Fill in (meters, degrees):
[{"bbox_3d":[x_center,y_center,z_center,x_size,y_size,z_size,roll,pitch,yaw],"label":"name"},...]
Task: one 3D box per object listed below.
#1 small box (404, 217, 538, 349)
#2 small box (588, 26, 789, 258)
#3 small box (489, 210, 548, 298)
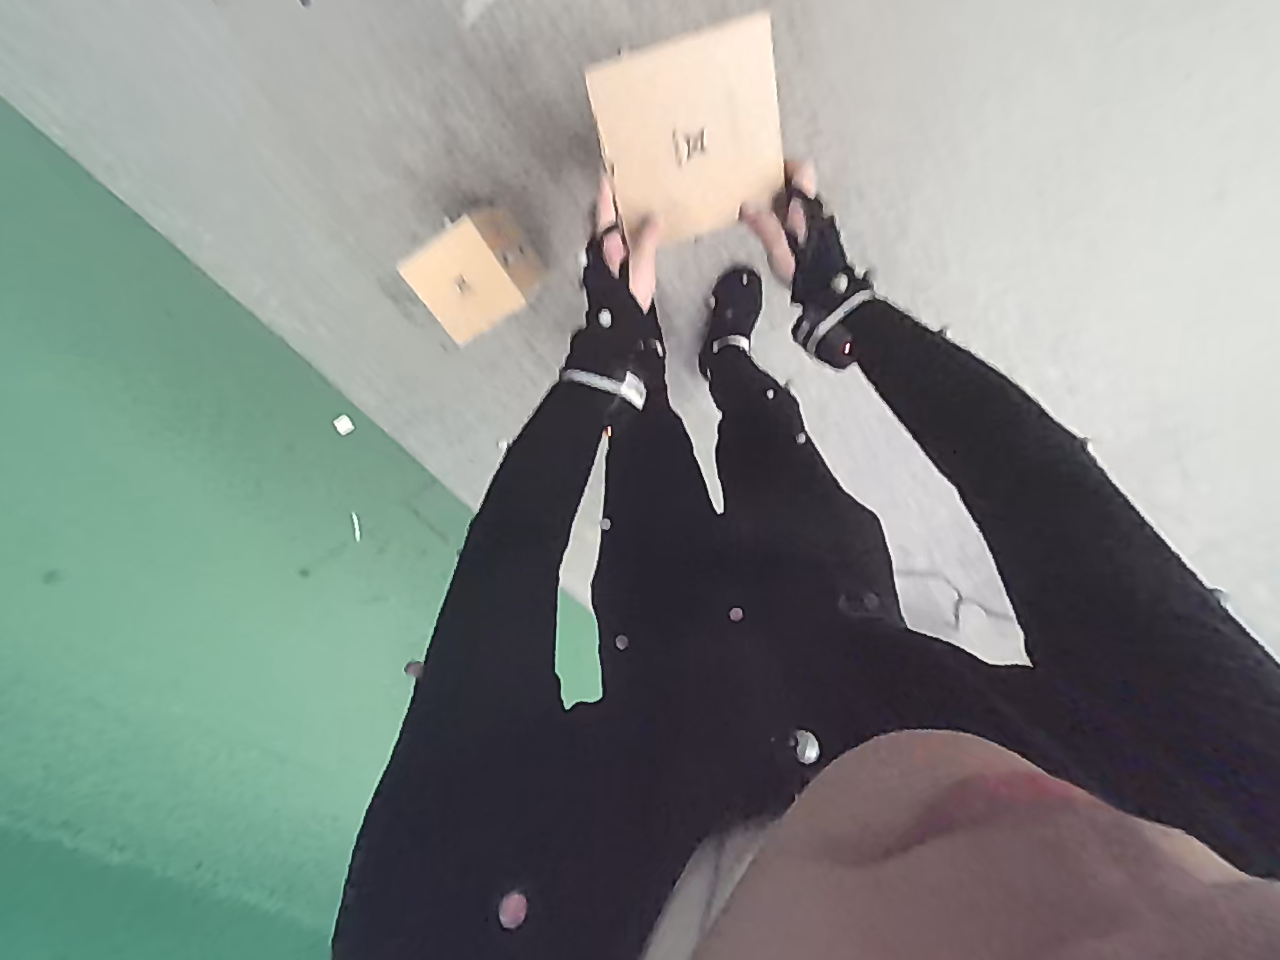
[{"bbox_3d":[-0.320,-0.393,1.060,0.168,0.176,0.179,-27,121,14],"label":"small box"},{"bbox_3d":[0.051,-0.362,0.600,0.179,0.176,0.168,-13,121,5],"label":"small box"},{"bbox_3d":[-0.324,-0.478,1.217,0.168,0.176,0.179,-27,120,14],"label":"small box"}]
